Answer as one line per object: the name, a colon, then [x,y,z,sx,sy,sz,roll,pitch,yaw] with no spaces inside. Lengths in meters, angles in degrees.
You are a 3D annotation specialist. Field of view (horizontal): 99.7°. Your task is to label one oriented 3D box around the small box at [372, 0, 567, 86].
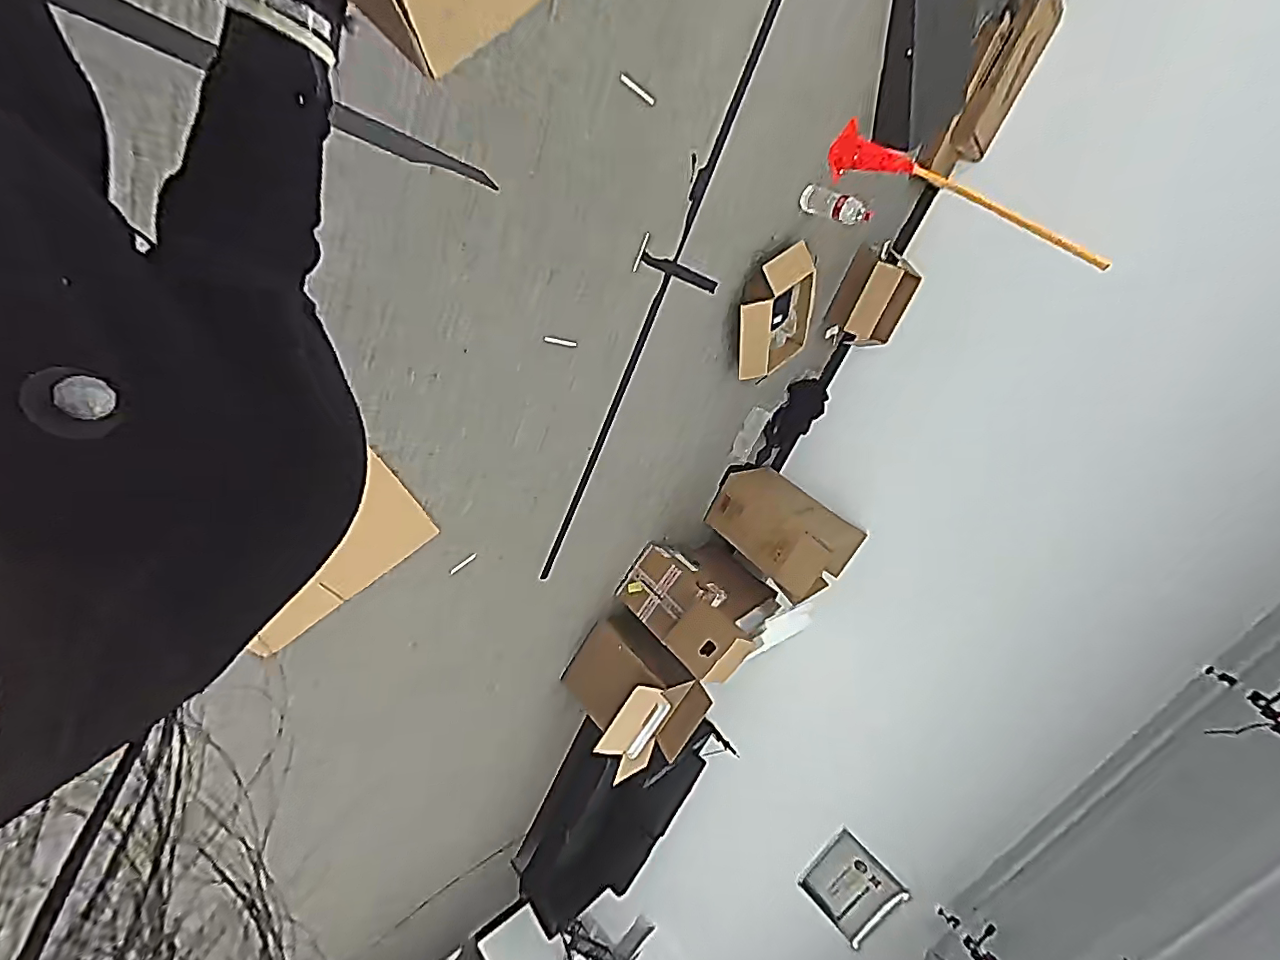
small box: [-0.110,-0.362,0.263,0.179,0.176,0.168,-45,178,-7]
